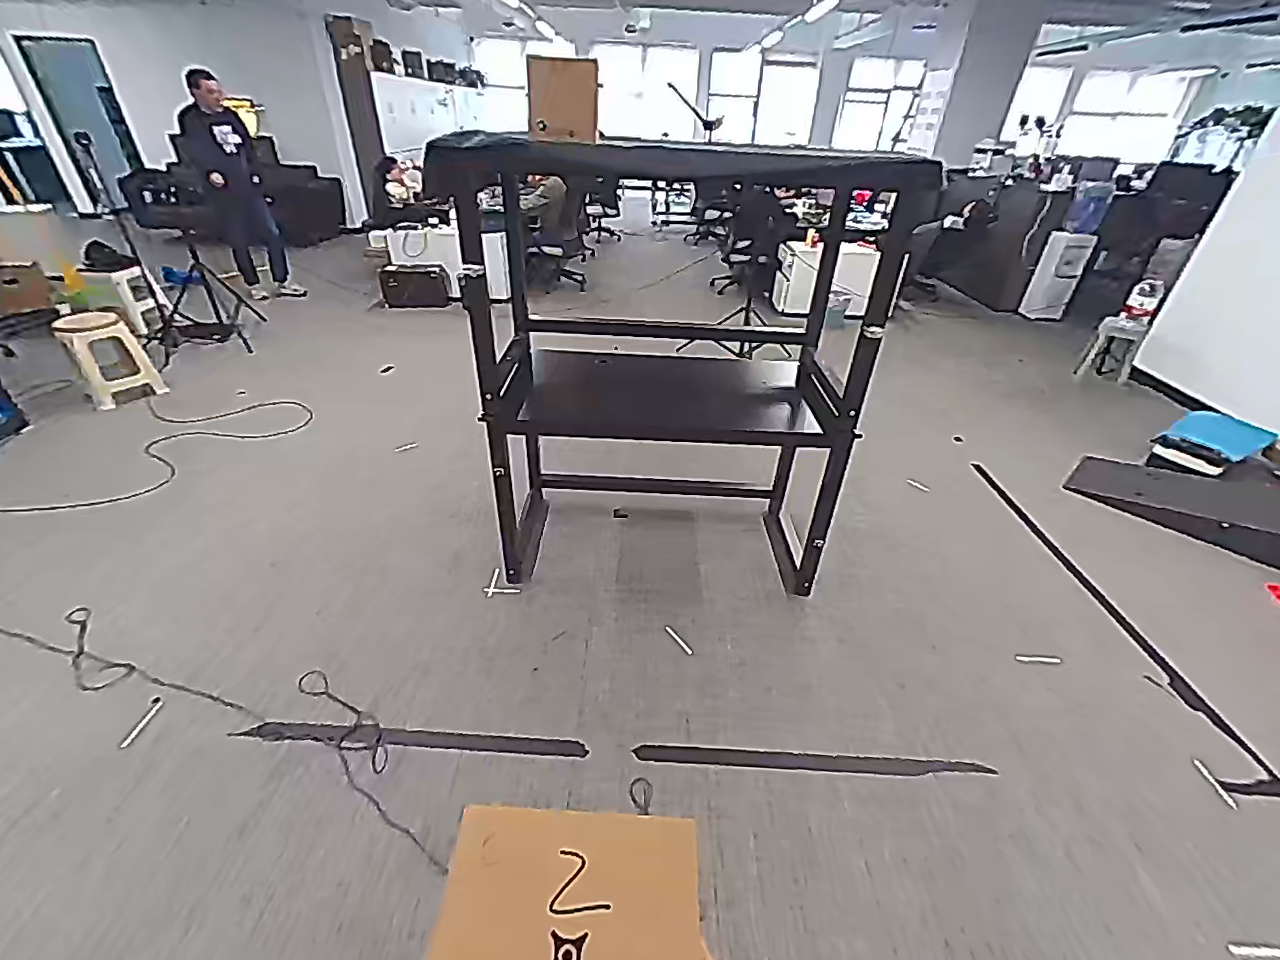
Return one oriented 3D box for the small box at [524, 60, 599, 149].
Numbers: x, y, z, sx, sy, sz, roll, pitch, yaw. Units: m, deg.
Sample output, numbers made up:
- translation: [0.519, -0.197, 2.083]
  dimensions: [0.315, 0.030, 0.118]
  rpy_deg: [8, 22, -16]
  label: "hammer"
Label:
- translation: [-0.188, -0.926, 1.345]
  dimensions: [0.168, 0.176, 0.179]
  rpy_deg: [2, 31, -3]
  label: "small box"
